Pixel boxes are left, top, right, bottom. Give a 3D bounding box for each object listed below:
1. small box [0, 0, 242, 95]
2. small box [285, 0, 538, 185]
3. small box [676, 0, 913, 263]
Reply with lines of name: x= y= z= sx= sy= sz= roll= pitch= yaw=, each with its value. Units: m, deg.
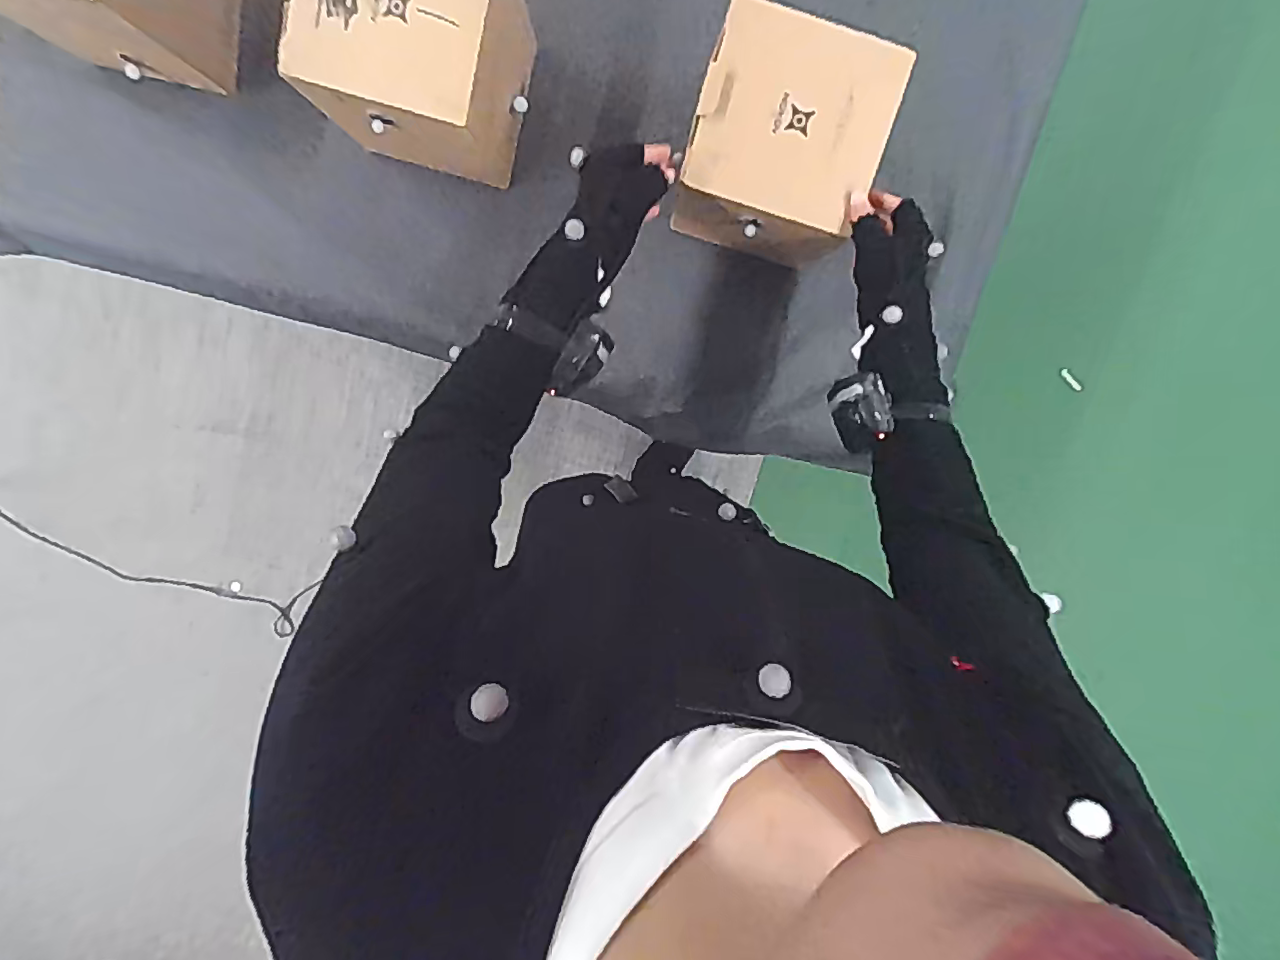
small box: x=-0.541 y=-0.530 z=0.546 sx=0.179 sy=0.176 sz=0.168 roll=12 pitch=100 yaw=-3
small box: x=-0.221 y=-0.436 z=0.562 sx=0.179 sy=0.176 sz=0.168 roll=14 pitch=100 yaw=-3
small box: x=0.143 y=-0.349 z=0.579 sx=0.179 sy=0.176 sz=0.168 roll=15 pitch=102 yaw=-4
